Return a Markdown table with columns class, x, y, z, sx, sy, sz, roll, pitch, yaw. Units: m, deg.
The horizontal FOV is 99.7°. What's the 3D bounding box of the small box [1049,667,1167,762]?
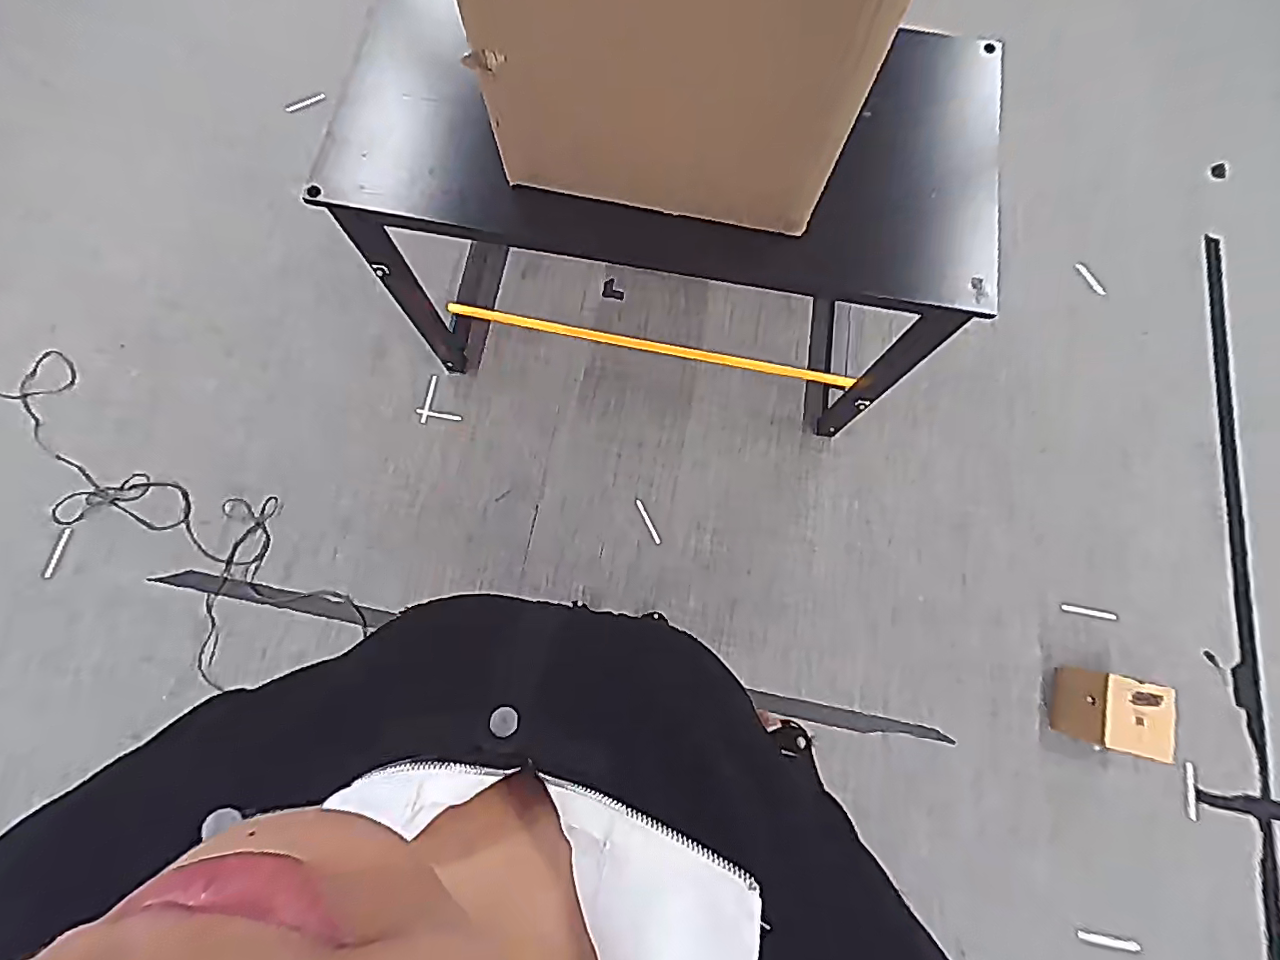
| class | x | y | z | sx | sy | sz | roll | pitch | yaw |
| --- | --- | --- | --- | --- | --- | --- | --- | --- | --- |
| small box | 1.200 | 0.594 | 1.396 | 0.168 | 0.176 | 0.179 | 14 | 77 | 2 |
